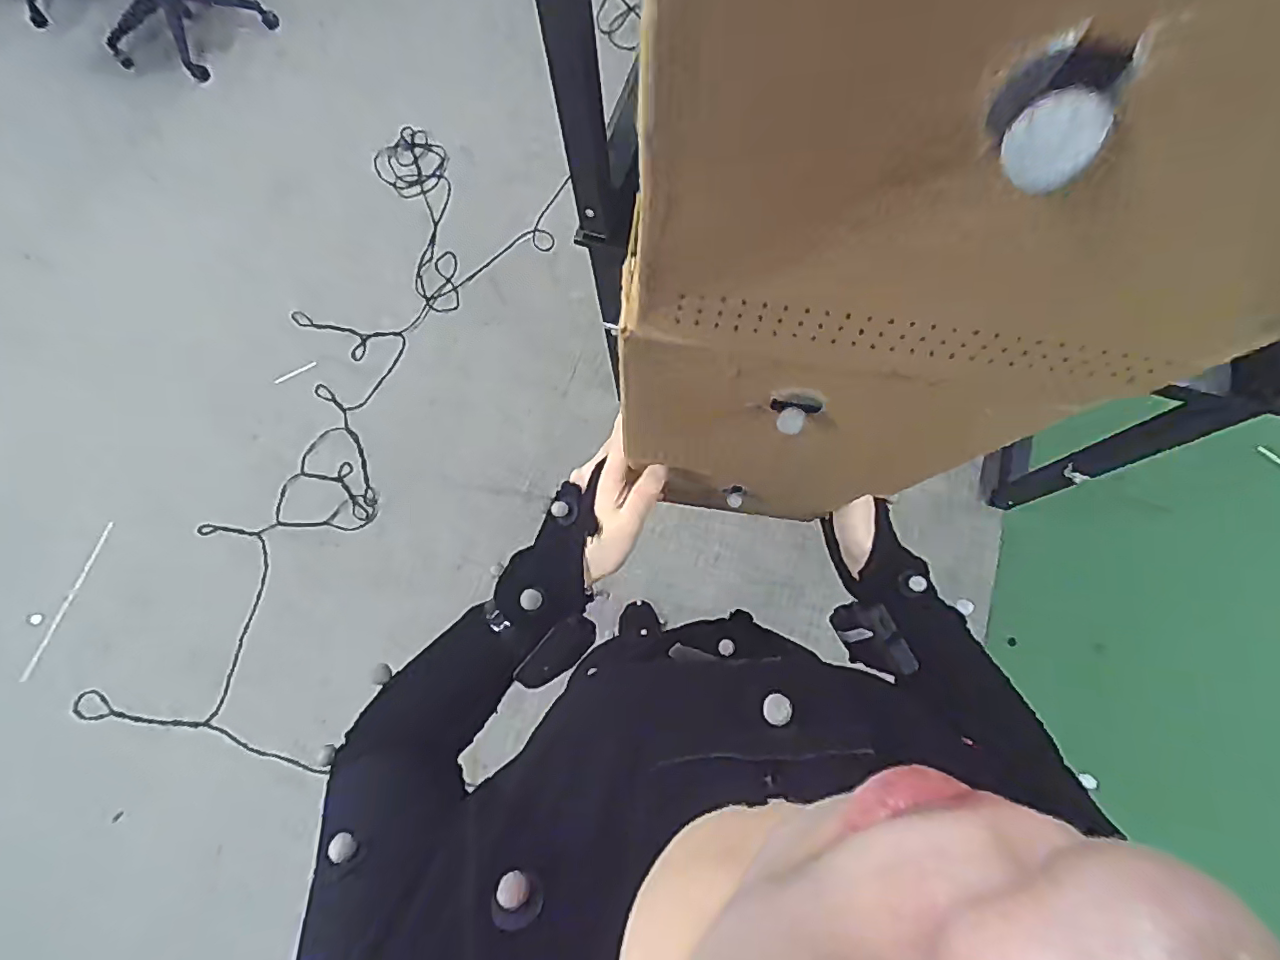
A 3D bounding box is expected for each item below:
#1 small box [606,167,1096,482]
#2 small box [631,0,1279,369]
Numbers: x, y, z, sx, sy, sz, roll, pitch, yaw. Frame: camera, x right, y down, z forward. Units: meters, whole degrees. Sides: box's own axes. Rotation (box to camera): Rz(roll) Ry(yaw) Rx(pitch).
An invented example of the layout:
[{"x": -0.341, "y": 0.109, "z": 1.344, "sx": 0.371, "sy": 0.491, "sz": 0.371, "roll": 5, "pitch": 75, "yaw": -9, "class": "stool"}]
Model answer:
[{"x": 0.084, "y": -0.103, "z": 0.287, "sx": 0.179, "sy": 0.176, "sz": 0.168, "roll": 8, "pitch": 77, "yaw": 1, "class": "small box"}, {"x": 0.092, "y": -0.140, "z": 0.127, "sx": 0.179, "sy": 0.176, "sz": 0.168, "roll": 7, "pitch": 77, "yaw": 2, "class": "small box"}]
